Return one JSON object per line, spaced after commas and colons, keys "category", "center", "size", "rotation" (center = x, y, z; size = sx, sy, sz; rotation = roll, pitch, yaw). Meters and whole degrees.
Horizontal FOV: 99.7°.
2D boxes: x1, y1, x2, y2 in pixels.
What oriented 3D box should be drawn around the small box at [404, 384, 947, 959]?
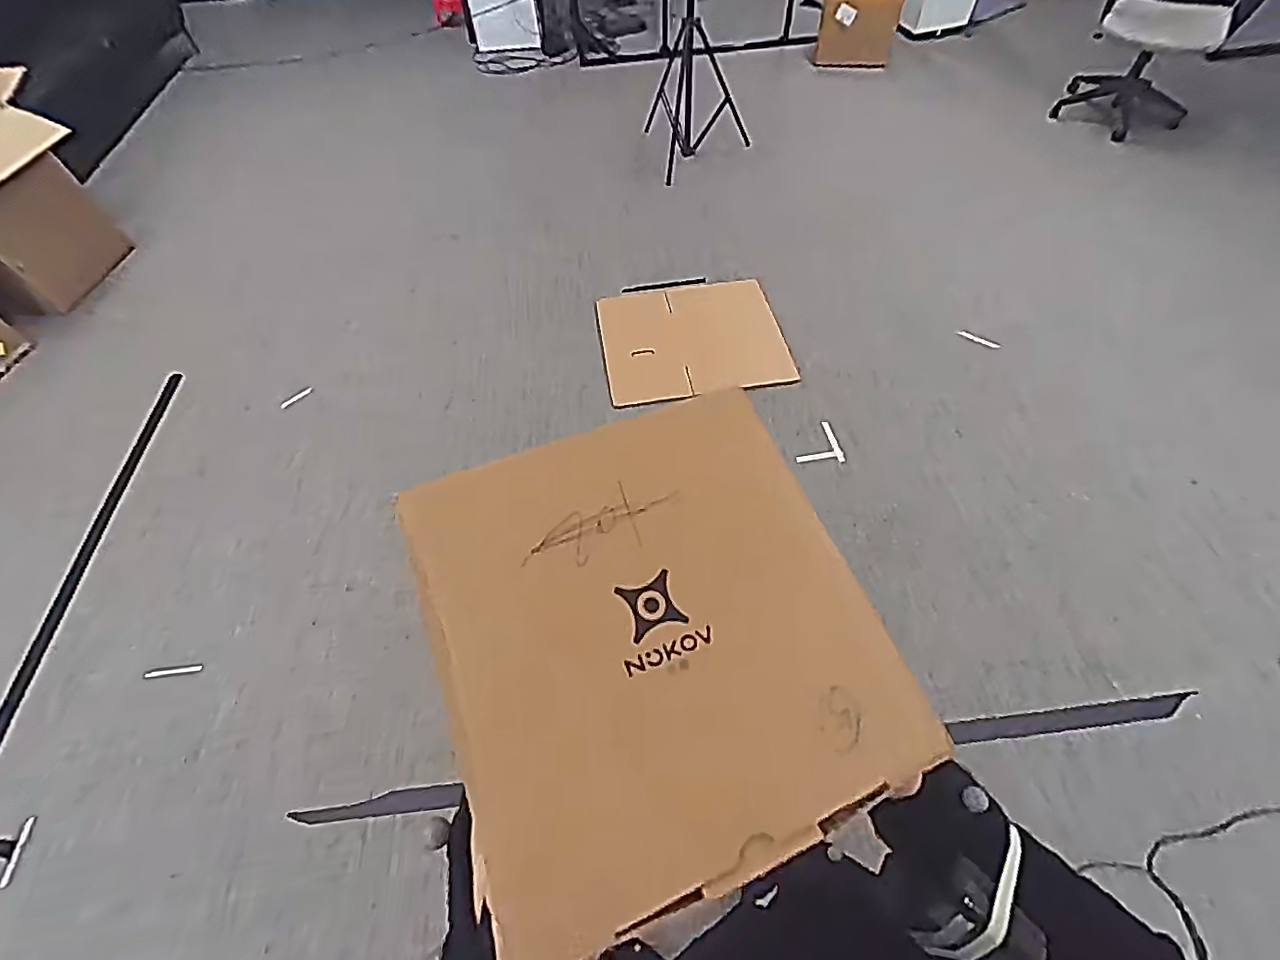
{"category": "small box", "center": [0.002, 0.086, 0.283], "size": [0.168, 0.176, 0.179], "rotation": [-19, 66, -15]}
